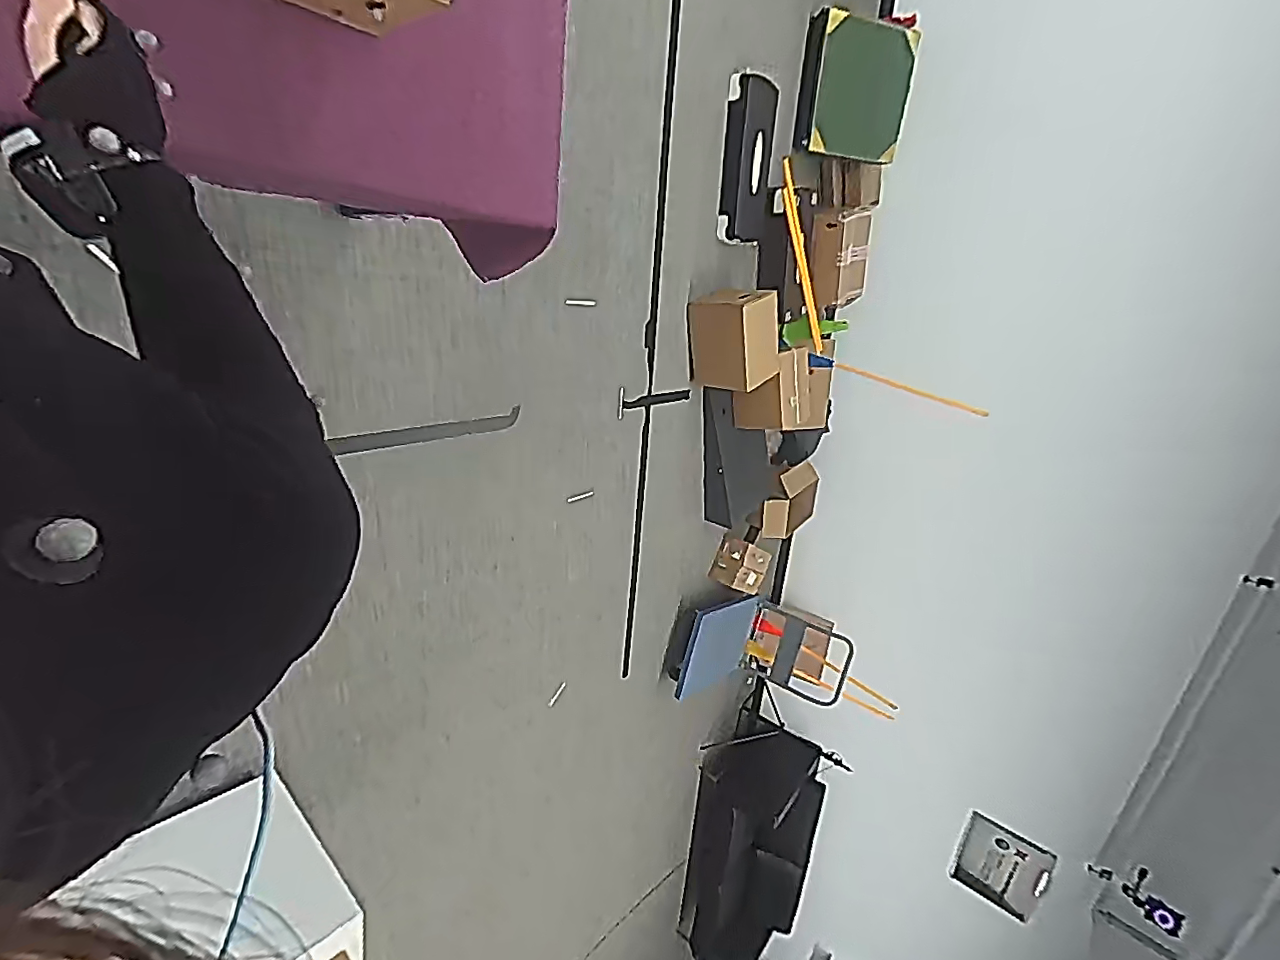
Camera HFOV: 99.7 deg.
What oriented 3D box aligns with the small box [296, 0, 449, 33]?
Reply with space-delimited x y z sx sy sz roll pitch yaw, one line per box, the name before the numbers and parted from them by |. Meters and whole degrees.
small box | -0.313 -0.595 0.545 0.168 0.176 0.179 -19 120 -48
